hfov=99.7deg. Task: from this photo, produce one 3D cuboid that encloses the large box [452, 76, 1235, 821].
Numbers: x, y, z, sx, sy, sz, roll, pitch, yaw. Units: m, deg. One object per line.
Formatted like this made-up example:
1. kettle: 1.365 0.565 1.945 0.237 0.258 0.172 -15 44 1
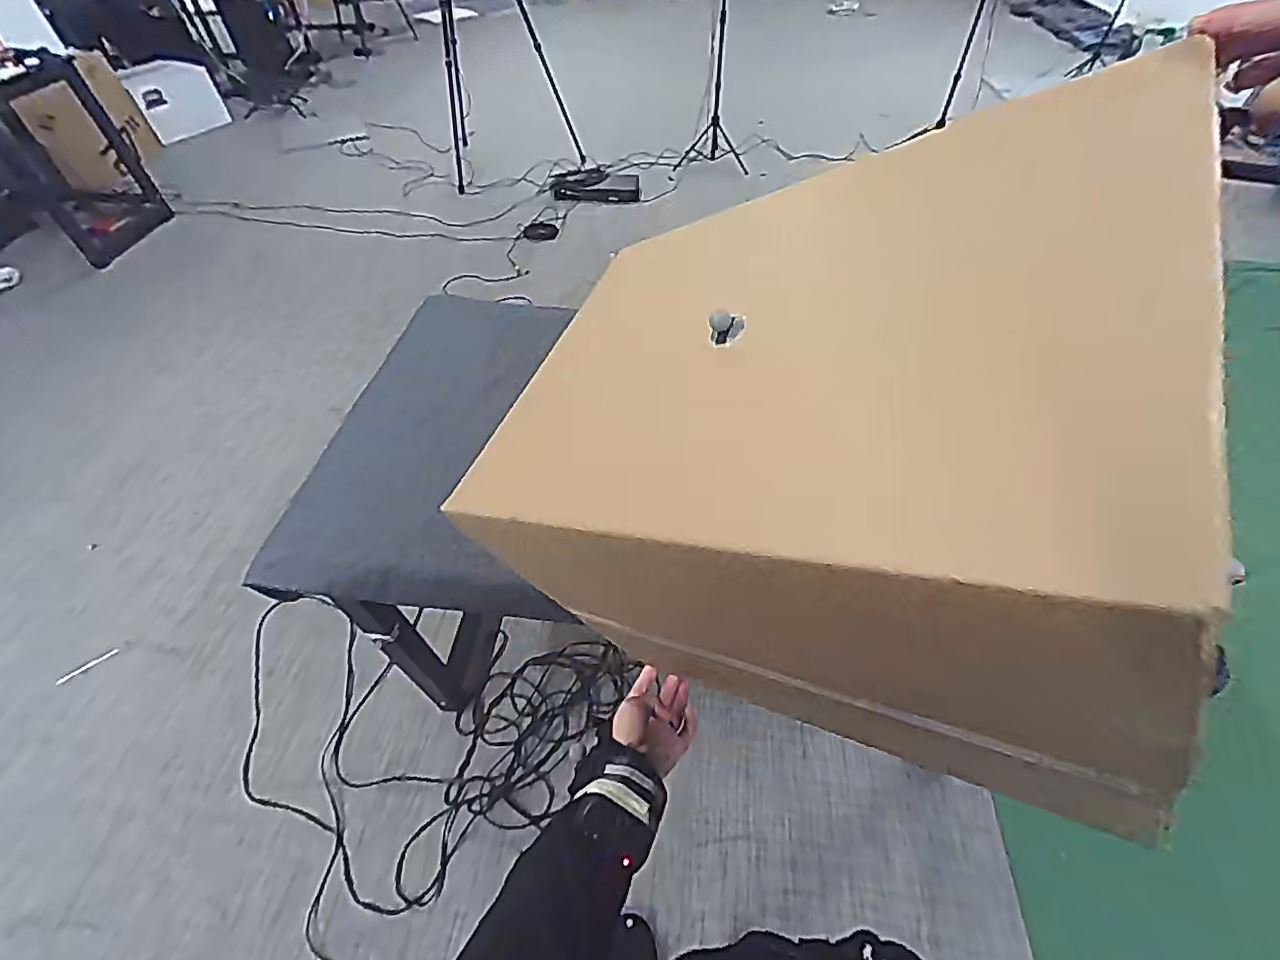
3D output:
1. large box: 0.140 0.003 0.425 0.408 0.320 0.320 1 55 42
